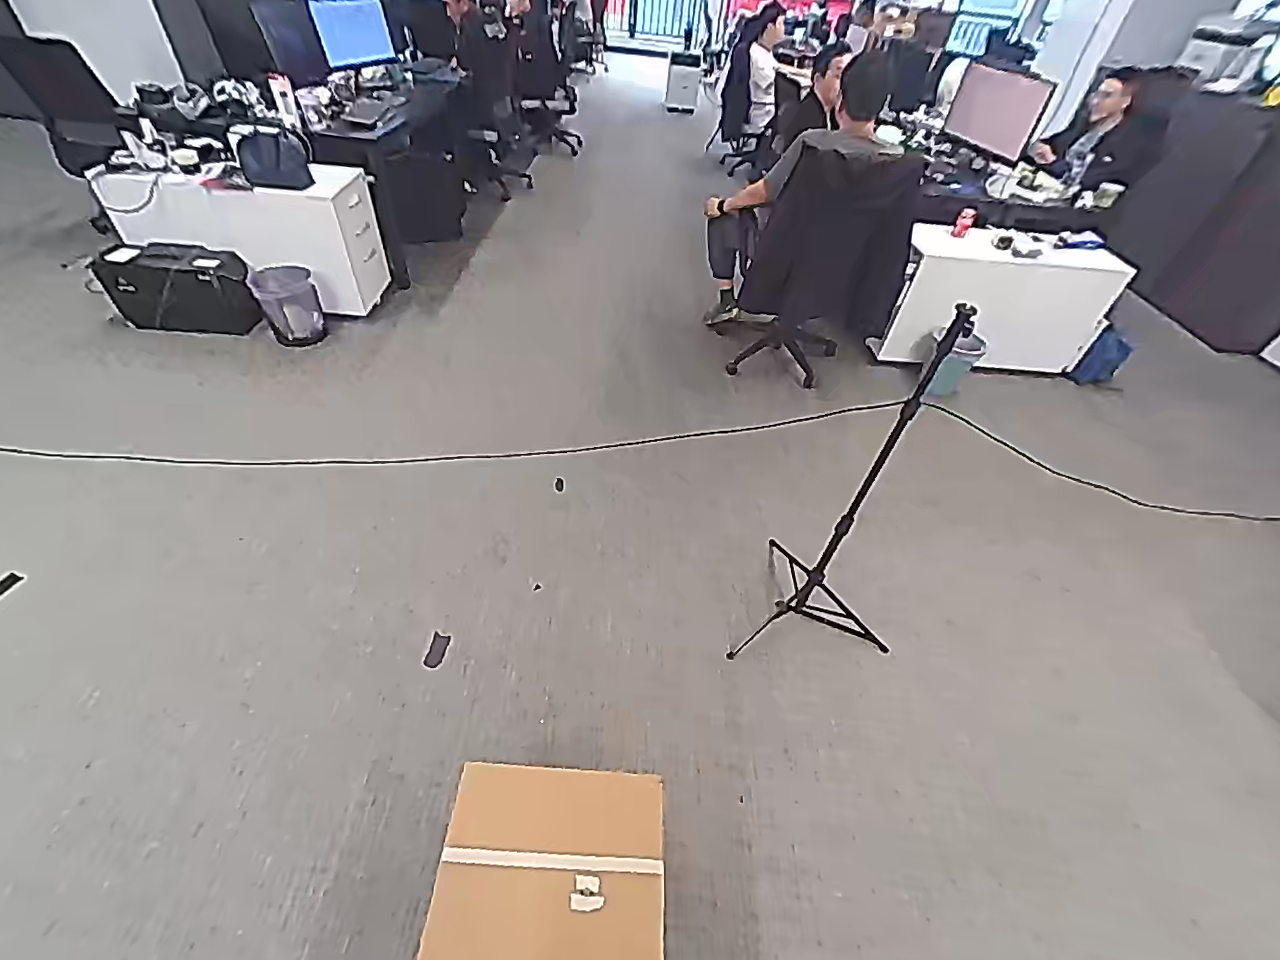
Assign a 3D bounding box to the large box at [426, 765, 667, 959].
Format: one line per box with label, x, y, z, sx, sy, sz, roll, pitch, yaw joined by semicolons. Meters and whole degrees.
large box;-0.166;0.804;1.093;0.408;0.320;0.320;6;45;-2
